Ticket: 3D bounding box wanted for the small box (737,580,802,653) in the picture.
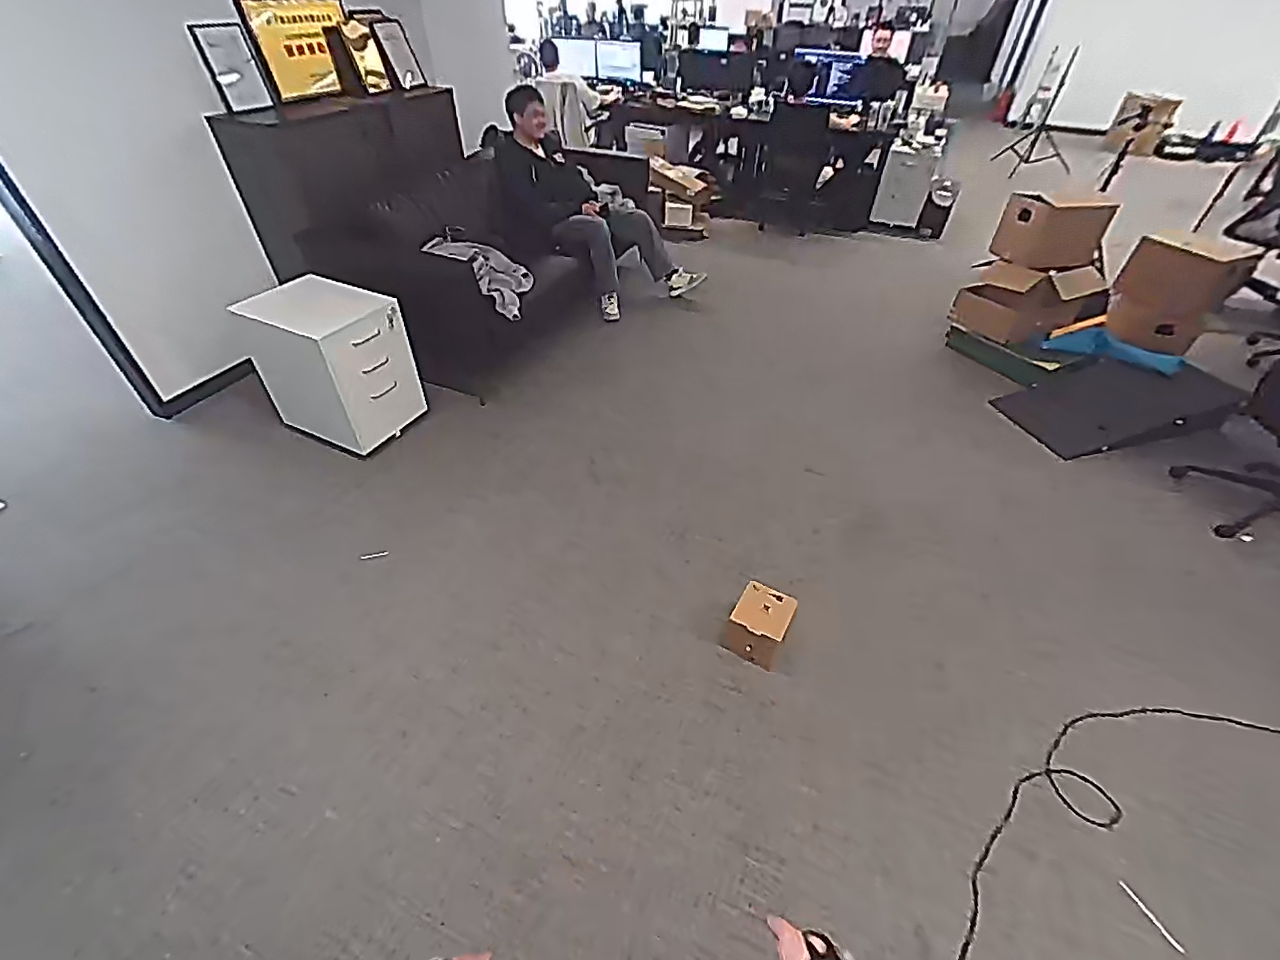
[{"bbox_3d":[0.406,0.440,1.731,0.179,0.176,0.168,0,40,2],"label":"small box"}]
